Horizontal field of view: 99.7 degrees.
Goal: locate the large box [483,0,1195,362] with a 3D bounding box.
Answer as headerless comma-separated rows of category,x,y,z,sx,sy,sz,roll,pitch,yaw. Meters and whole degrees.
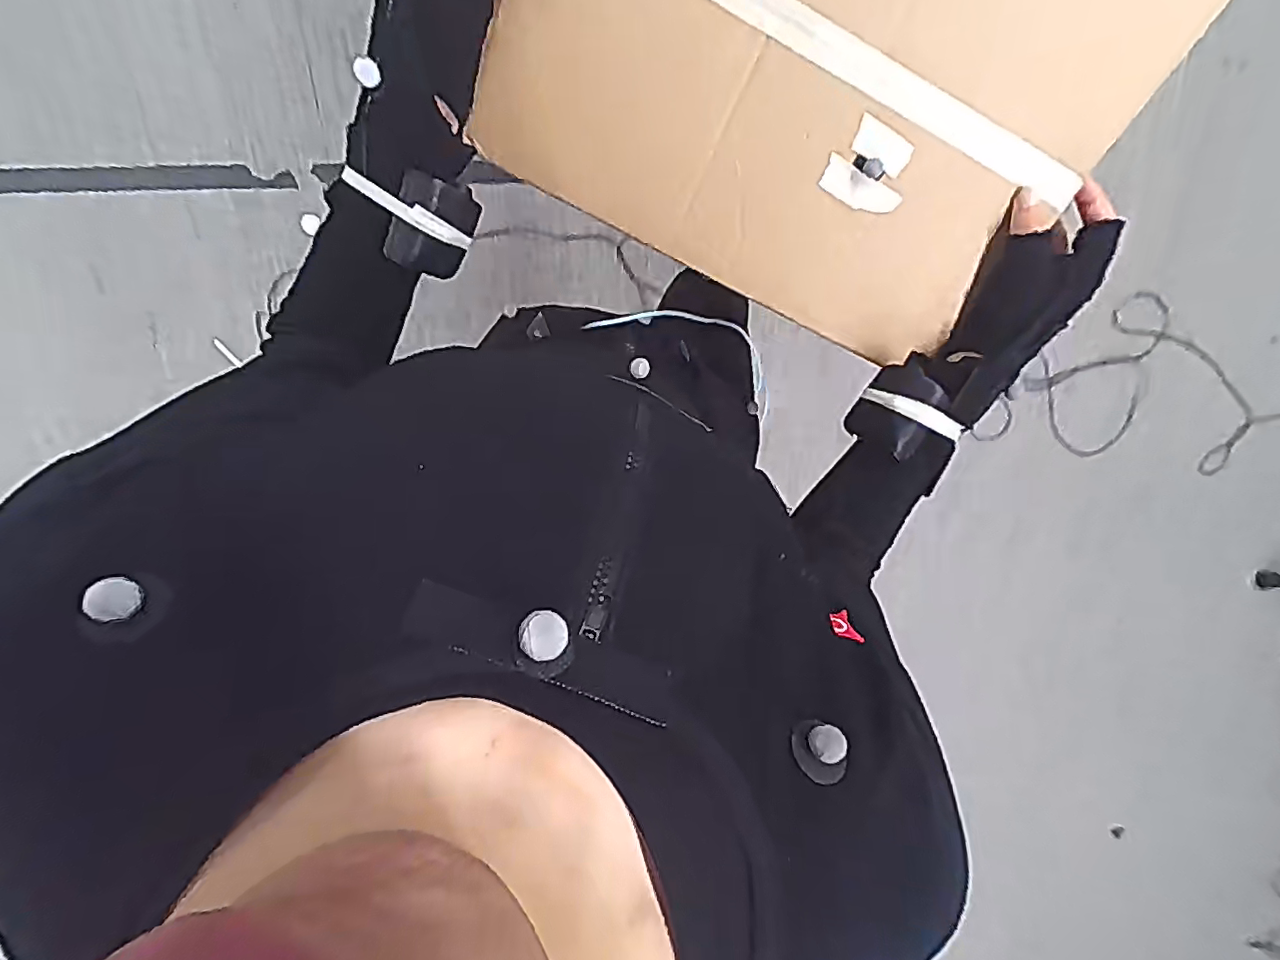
large box,0.129,-0.368,0.489,0.408,0.320,0.320,23,121,-10
